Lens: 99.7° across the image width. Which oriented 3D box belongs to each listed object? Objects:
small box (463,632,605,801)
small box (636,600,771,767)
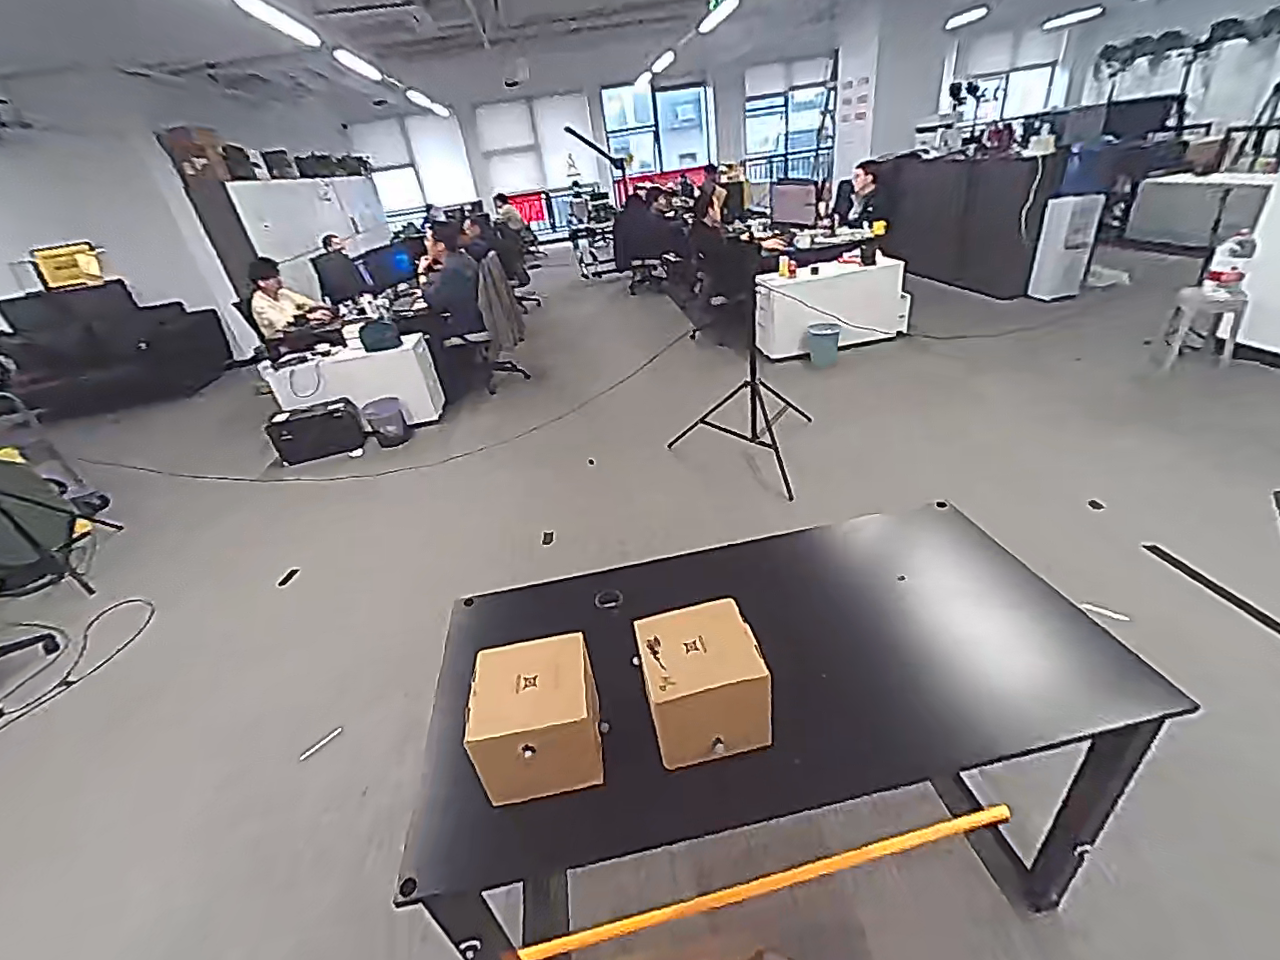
[{"bbox_3d":[-0.160,0.374,0.856,0.179,0.176,0.168,-10,32,-4],"label":"small box"},{"bbox_3d":[0.098,0.325,0.872,0.179,0.176,0.168,-11,31,-6],"label":"small box"}]
